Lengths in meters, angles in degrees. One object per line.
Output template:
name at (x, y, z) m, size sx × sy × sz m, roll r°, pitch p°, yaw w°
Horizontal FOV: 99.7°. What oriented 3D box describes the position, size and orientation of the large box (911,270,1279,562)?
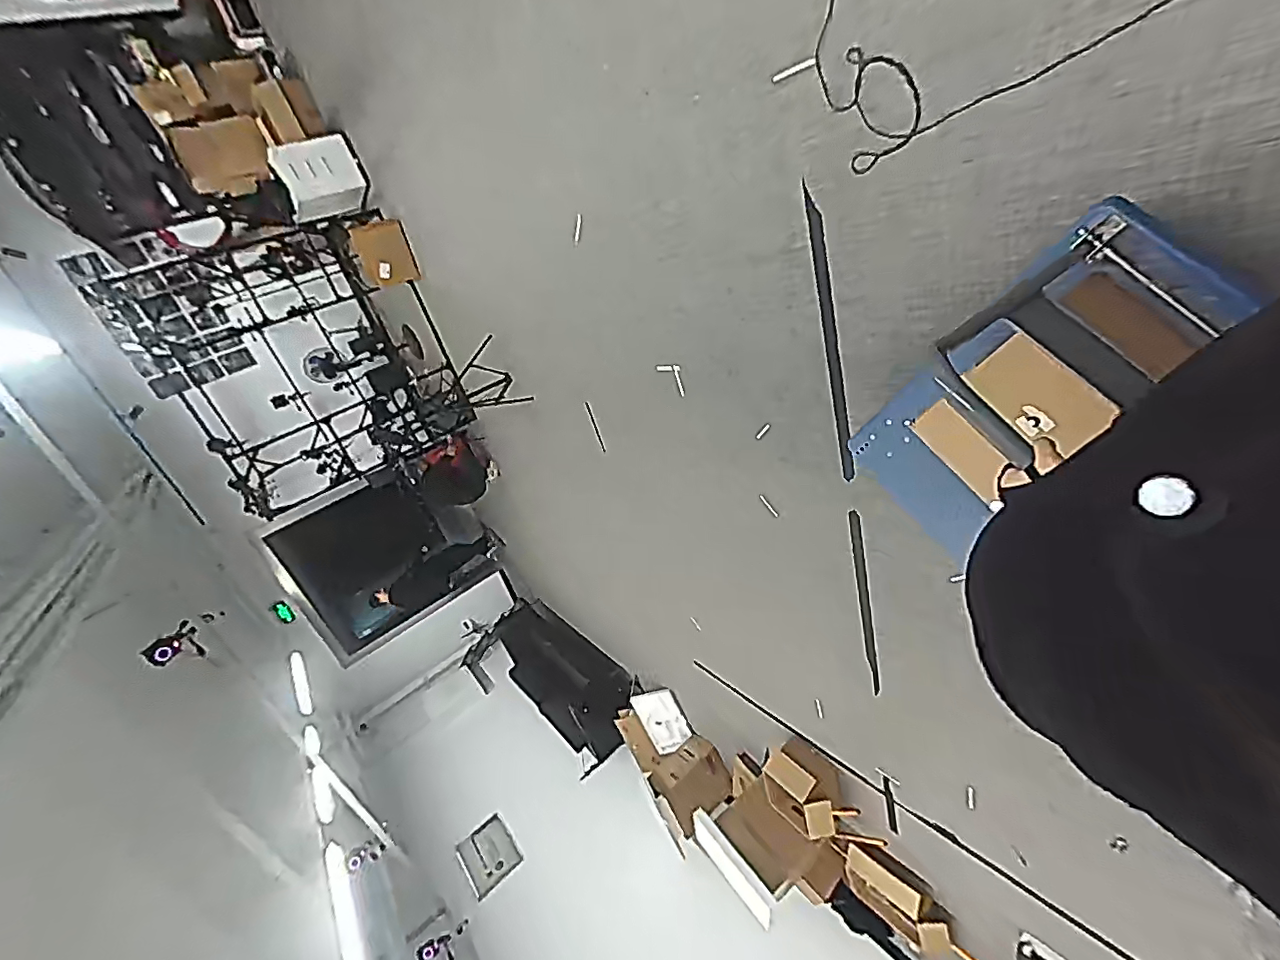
large box at (0.850, -0.121, 1.050) m, size 0.408 × 0.320 × 0.320 m, roll 51°, pitch 153°, yaw 14°
